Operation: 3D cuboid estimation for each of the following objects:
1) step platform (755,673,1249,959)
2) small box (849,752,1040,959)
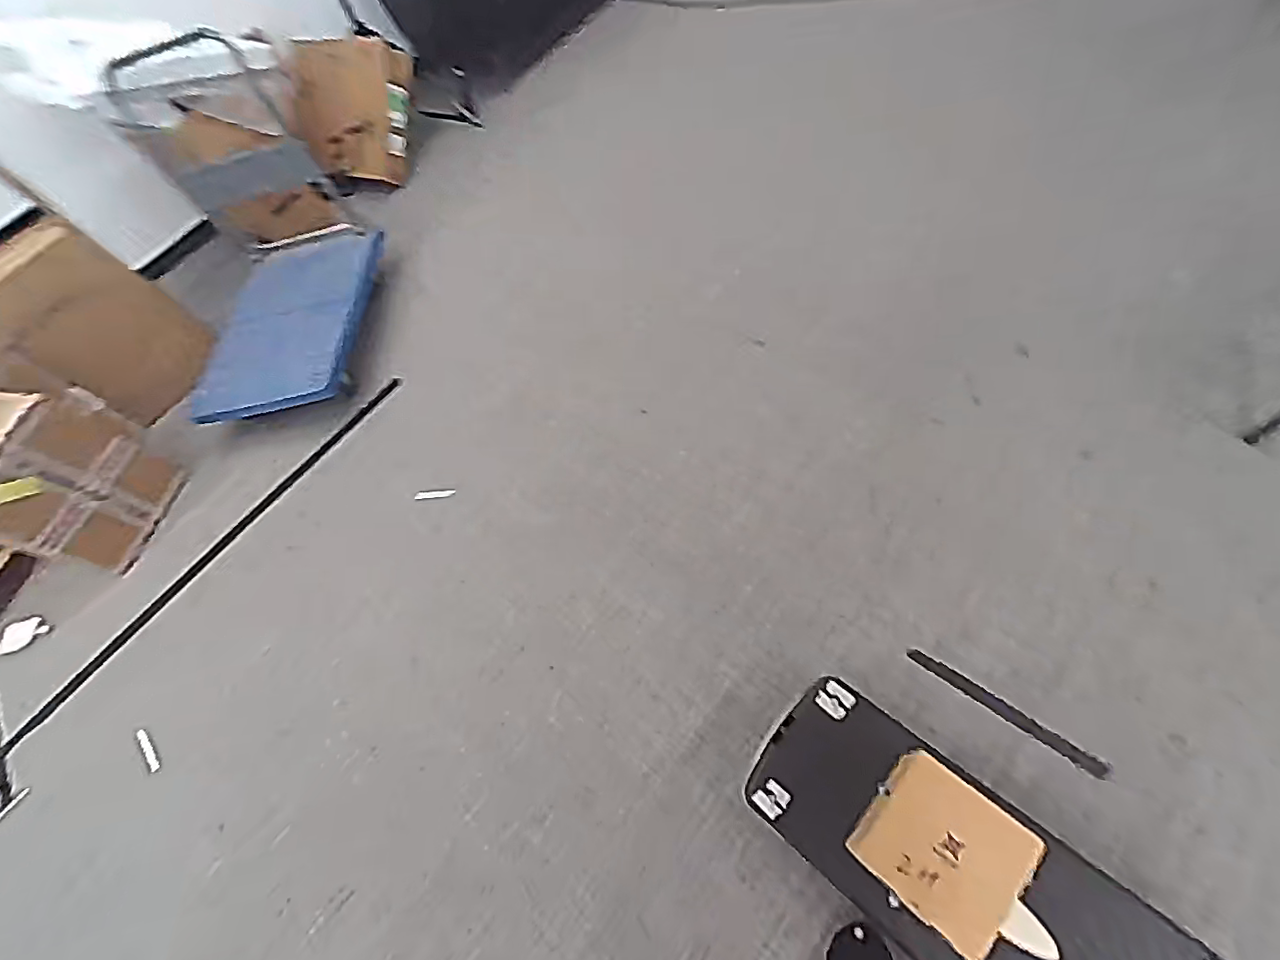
[{"bbox_3d":[0.534,0.638,0.891,0.684,0.204,0.286,33,74,30],"label":"step platform"},{"bbox_3d":[0.421,0.527,0.781,0.168,0.176,0.179,35,76,30],"label":"small box"}]
